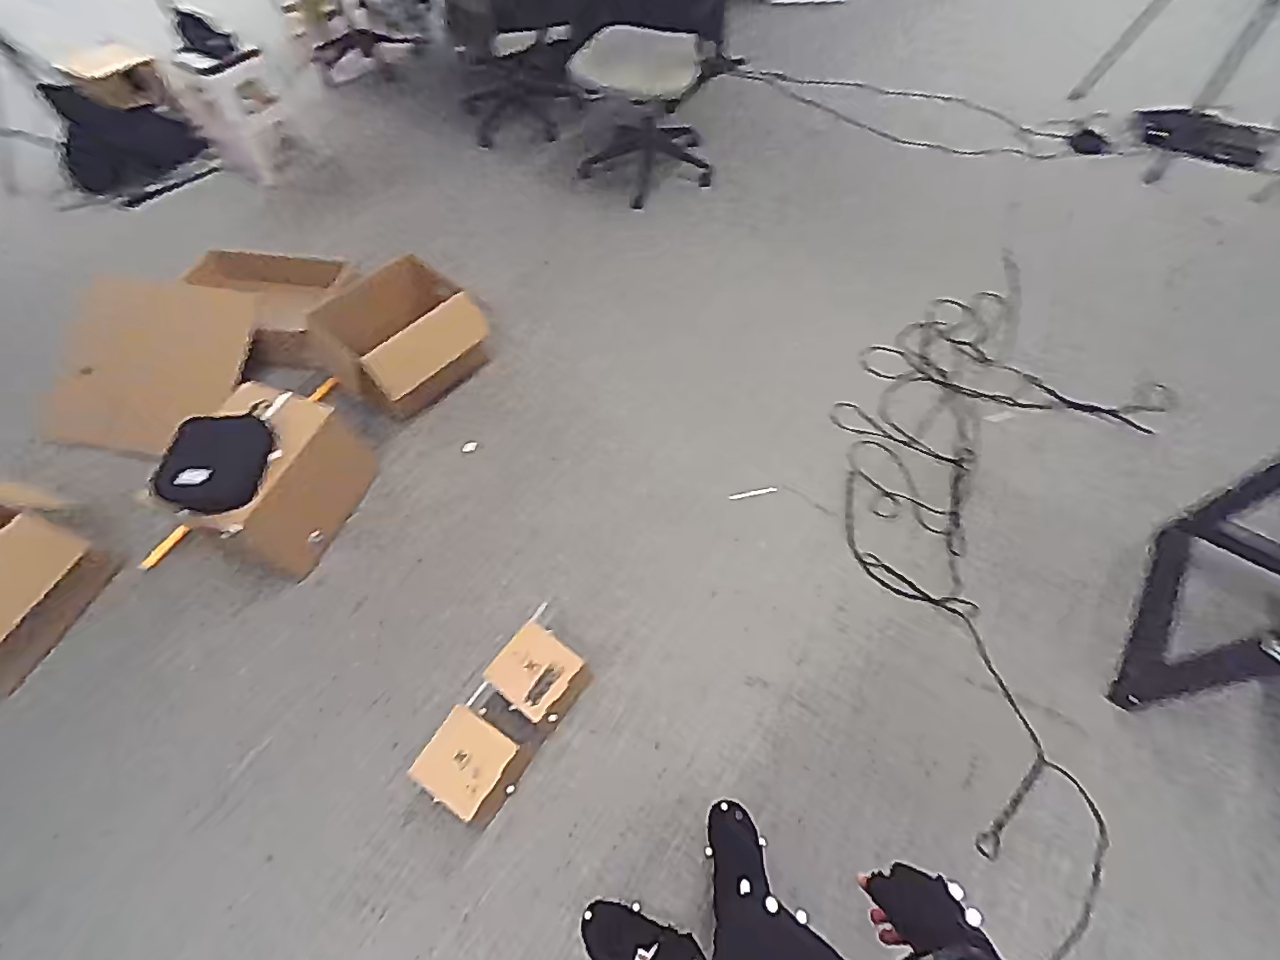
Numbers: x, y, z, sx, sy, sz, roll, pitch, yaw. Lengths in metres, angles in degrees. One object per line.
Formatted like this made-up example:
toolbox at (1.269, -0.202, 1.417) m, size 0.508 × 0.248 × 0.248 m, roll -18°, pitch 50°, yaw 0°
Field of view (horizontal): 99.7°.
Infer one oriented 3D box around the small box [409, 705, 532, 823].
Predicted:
small box at (-0.370, 0.639, 1.211) m, size 0.179 × 0.176 × 0.168 m, roll 27°, pitch 64°, yaw 18°
